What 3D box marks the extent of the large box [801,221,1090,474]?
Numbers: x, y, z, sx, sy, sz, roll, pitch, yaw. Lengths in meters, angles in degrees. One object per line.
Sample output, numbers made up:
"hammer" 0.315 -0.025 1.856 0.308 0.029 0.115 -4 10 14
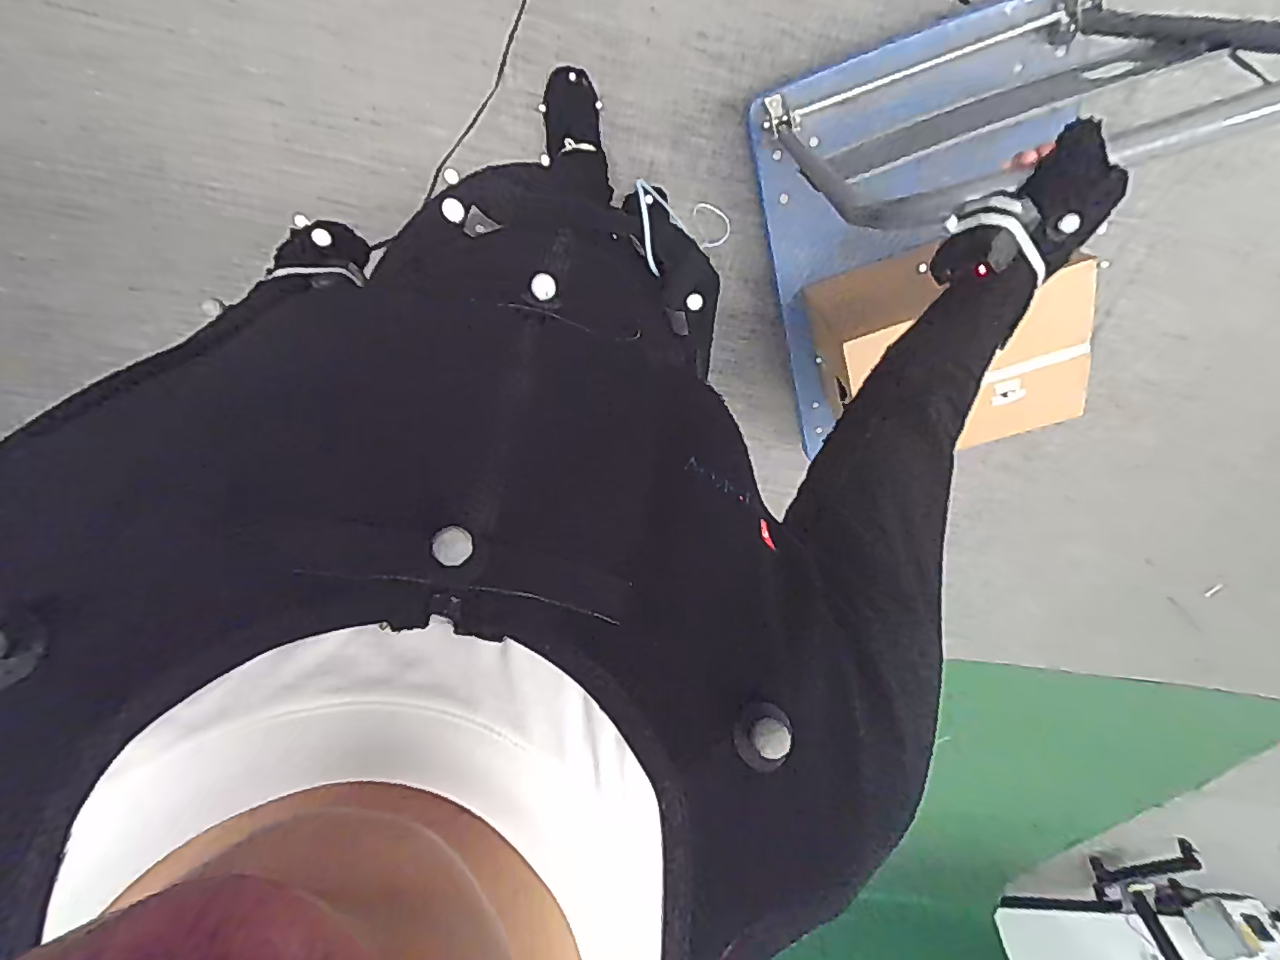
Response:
"large box" 0.590 -0.271 1.107 0.408 0.320 0.320 -18 126 13
